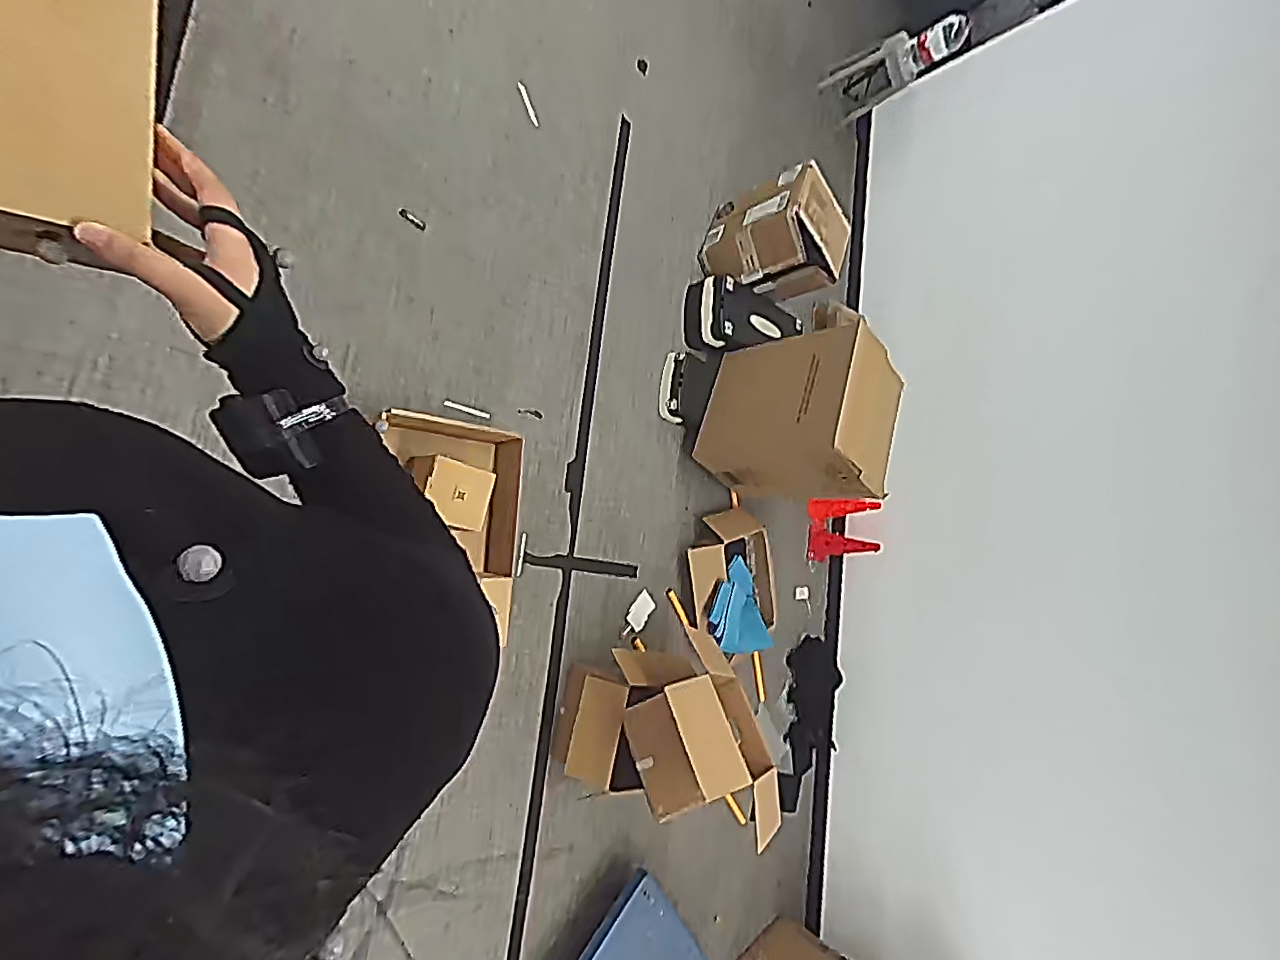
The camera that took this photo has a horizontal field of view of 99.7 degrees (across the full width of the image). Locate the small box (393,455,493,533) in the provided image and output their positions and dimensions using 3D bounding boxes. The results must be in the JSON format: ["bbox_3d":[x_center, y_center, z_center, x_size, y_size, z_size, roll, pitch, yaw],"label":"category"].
[{"bbox_3d":[-0.530,0.036,1.454,0.179,0.176,0.168,23,74,-42],"label":"small box"}]

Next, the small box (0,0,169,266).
[{"bbox_3d":[-0.416,-0.243,0.335,0.179,0.176,0.168,1,97,-44],"label":"small box"}]

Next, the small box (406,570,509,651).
[{"bbox_3d":[-0.441,0.309,1.301,0.179,0.176,0.168,10,81,-45],"label":"small box"}]
